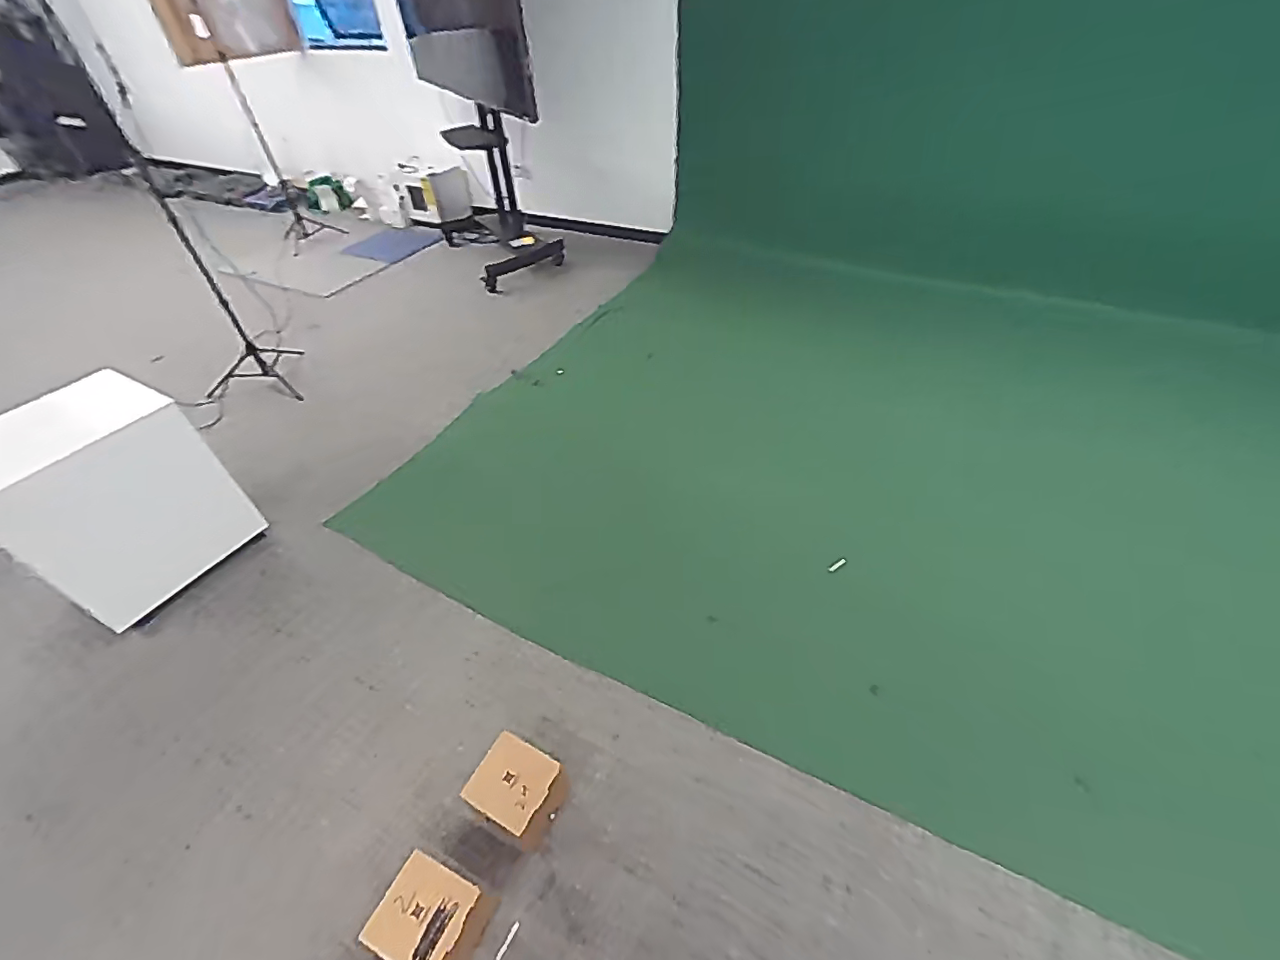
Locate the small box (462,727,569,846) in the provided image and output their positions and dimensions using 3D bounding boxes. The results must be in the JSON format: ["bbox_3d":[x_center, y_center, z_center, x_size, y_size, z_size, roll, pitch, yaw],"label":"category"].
[{"bbox_3d":[-0.291,0.741,1.301,0.179,0.176,0.168,20,48,21],"label":"small box"}]
